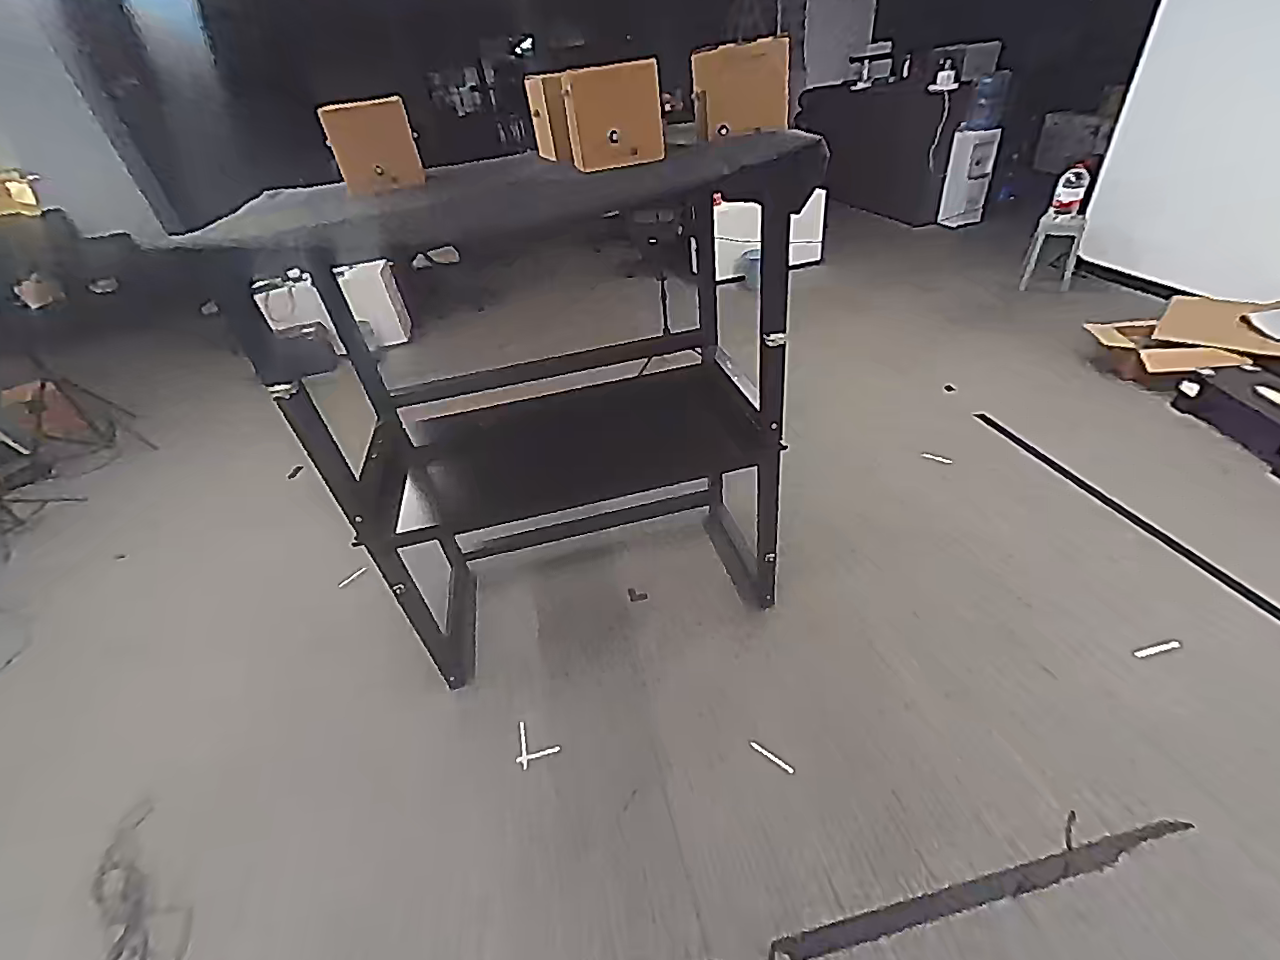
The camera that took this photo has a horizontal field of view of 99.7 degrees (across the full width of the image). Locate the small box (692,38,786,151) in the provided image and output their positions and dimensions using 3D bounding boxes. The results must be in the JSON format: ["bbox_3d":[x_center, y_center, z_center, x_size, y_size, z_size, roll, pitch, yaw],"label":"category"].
[{"bbox_3d":[0.206,-0.804,1.138,0.168,0.176,0.179,-8,35,2],"label":"small box"}]

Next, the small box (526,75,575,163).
[{"bbox_3d":[-0.167,-0.887,1.324,0.168,0.176,0.179,-19,38,-13],"label":"small box"}]

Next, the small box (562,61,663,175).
[{"bbox_3d":[-0.056,-0.728,1.095,0.168,0.176,0.179,-13,36,-6],"label":"small box"}]
